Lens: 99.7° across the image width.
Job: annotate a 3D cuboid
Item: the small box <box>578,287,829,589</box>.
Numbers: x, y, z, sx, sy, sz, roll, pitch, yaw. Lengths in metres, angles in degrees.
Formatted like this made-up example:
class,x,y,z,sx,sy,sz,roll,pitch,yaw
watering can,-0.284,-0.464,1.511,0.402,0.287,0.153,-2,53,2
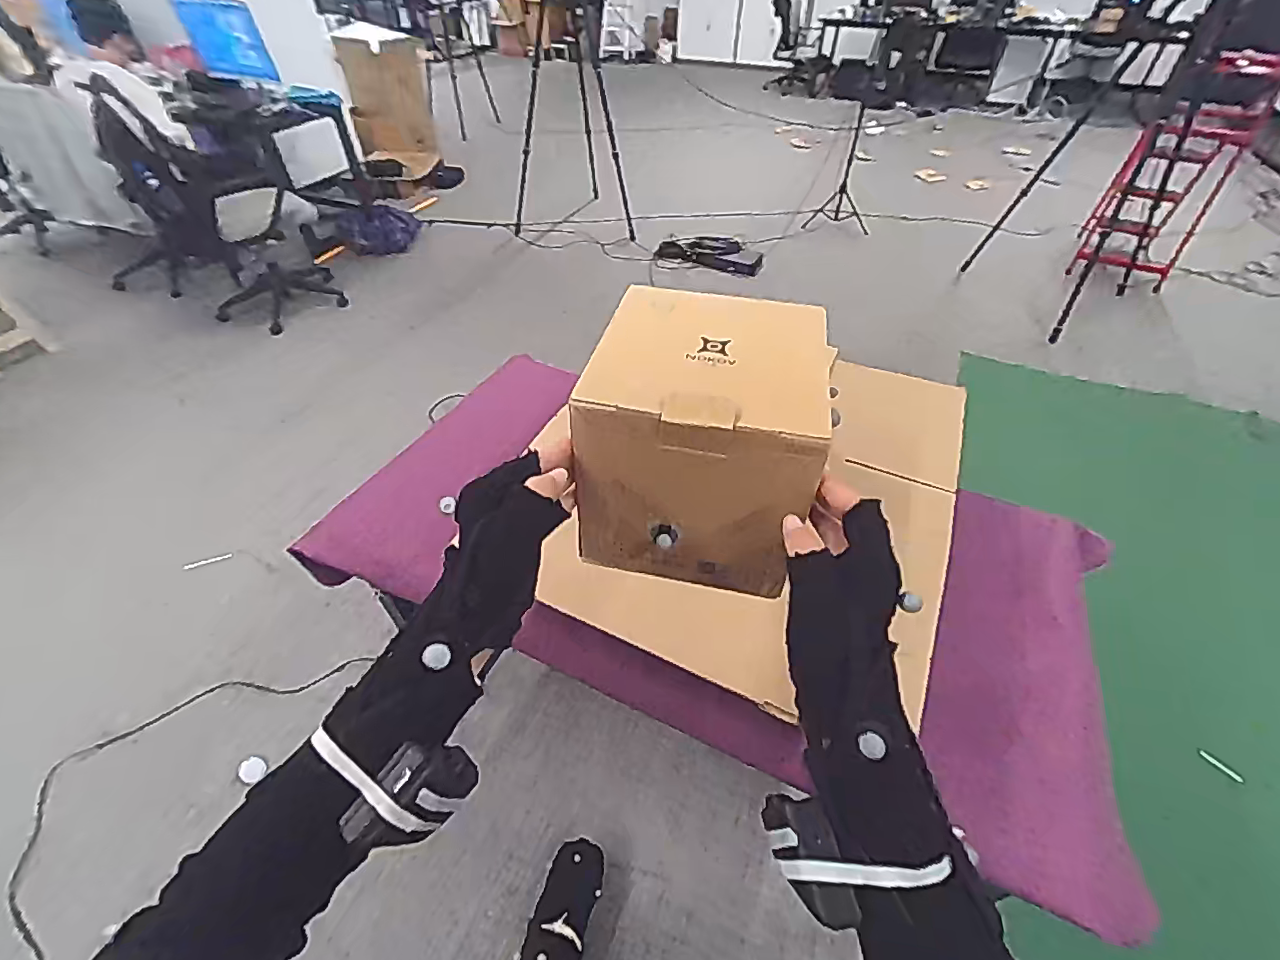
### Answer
class,x,y,z,sx,sy,sz,roll,pitch,yaw
small box,0.053,-0.038,0.456,0.168,0.176,0.179,10,45,8
